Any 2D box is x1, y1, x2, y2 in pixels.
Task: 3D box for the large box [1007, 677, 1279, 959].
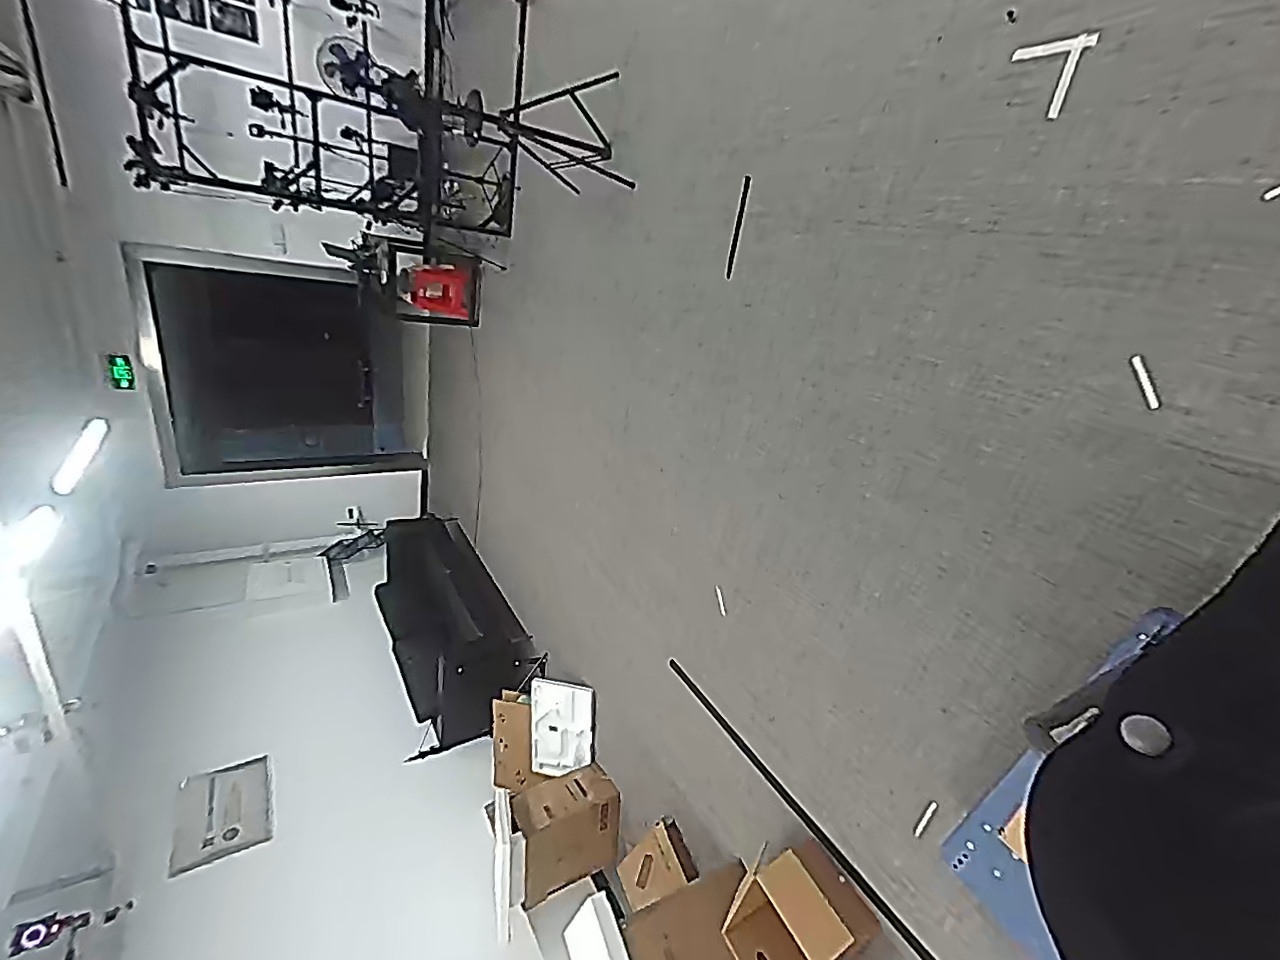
[{"bbox_3d":[0.940,0.607,0.885,0.408,0.320,0.320,41,126,48],"label":"large box"}]
